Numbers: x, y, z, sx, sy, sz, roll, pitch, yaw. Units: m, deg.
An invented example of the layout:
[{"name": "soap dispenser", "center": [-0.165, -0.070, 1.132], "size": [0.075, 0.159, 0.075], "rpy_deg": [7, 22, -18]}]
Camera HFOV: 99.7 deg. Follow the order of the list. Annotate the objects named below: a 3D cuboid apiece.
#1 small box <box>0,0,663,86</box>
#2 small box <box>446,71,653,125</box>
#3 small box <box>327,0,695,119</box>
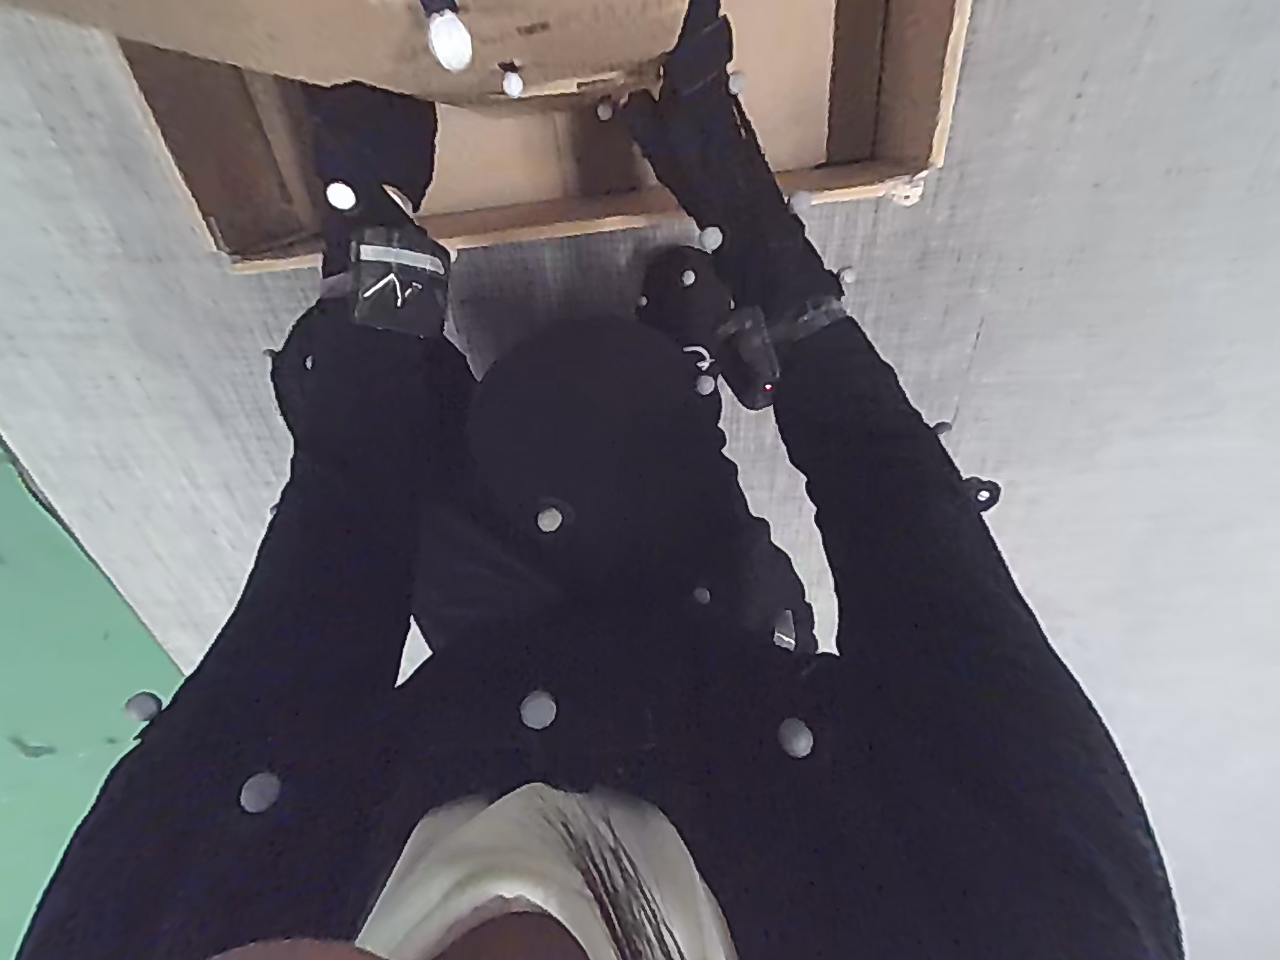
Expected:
[{"name": "small box", "center": [-0.082, -0.220, 0.136], "size": [0.168, 0.176, 0.179], "rpy_deg": [-7, 120, 5]}, {"name": "small box", "center": [-0.076, -0.385, 0.418], "size": [0.168, 0.176, 0.179], "rpy_deg": [-4, 120, 3]}, {"name": "small box", "center": [-0.076, -0.301, 0.278], "size": [0.179, 0.176, 0.168], "rpy_deg": [-9, 120, 5]}]
